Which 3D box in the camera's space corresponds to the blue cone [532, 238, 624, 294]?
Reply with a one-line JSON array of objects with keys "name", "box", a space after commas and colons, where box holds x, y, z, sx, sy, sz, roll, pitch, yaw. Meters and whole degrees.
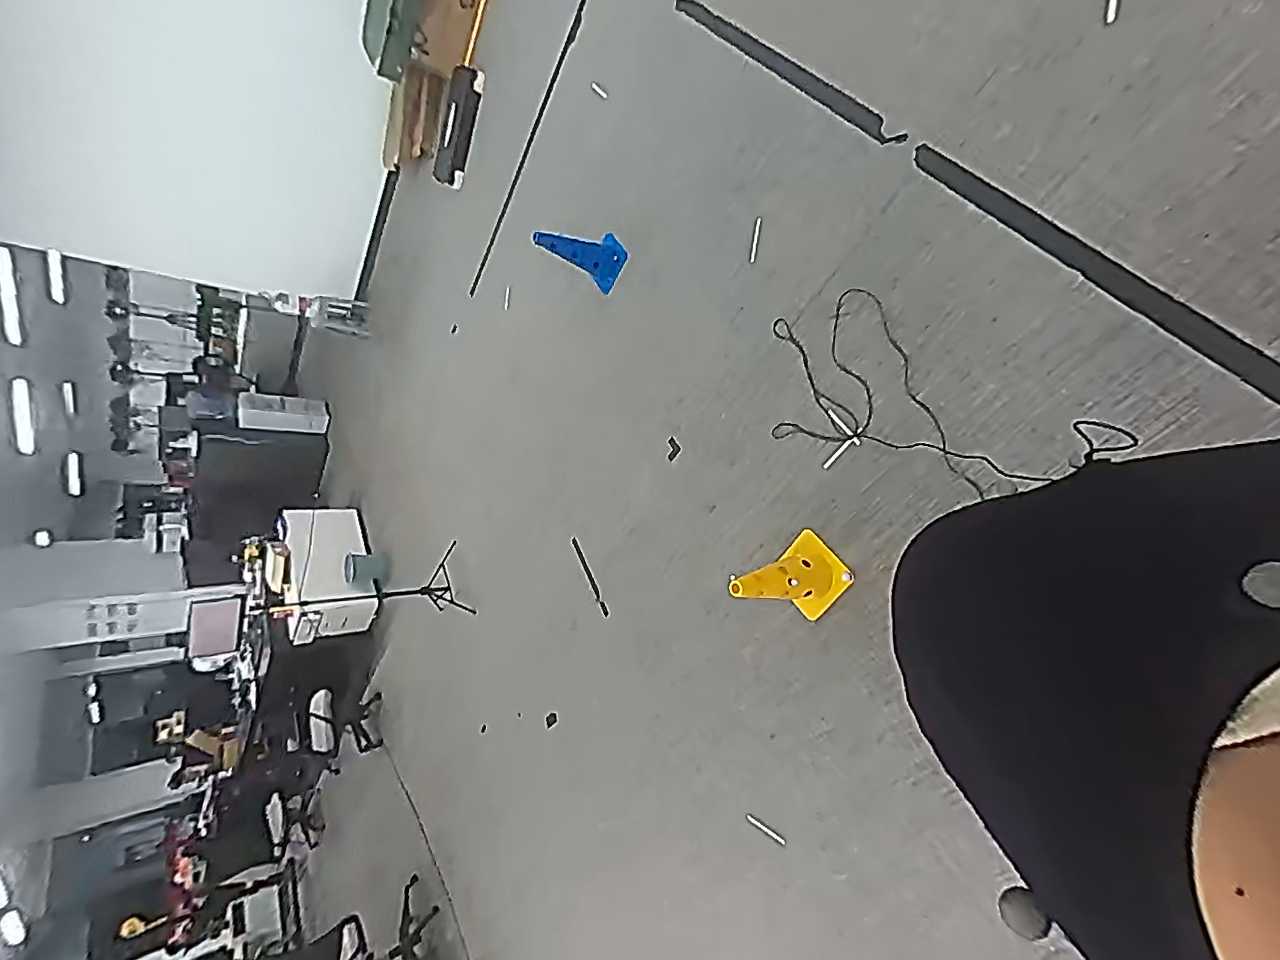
[{"name": "blue cone", "box": [-0.263, -0.919, 2.202, 0.192, 0.380, 0.193, -53, 52, 34]}]
